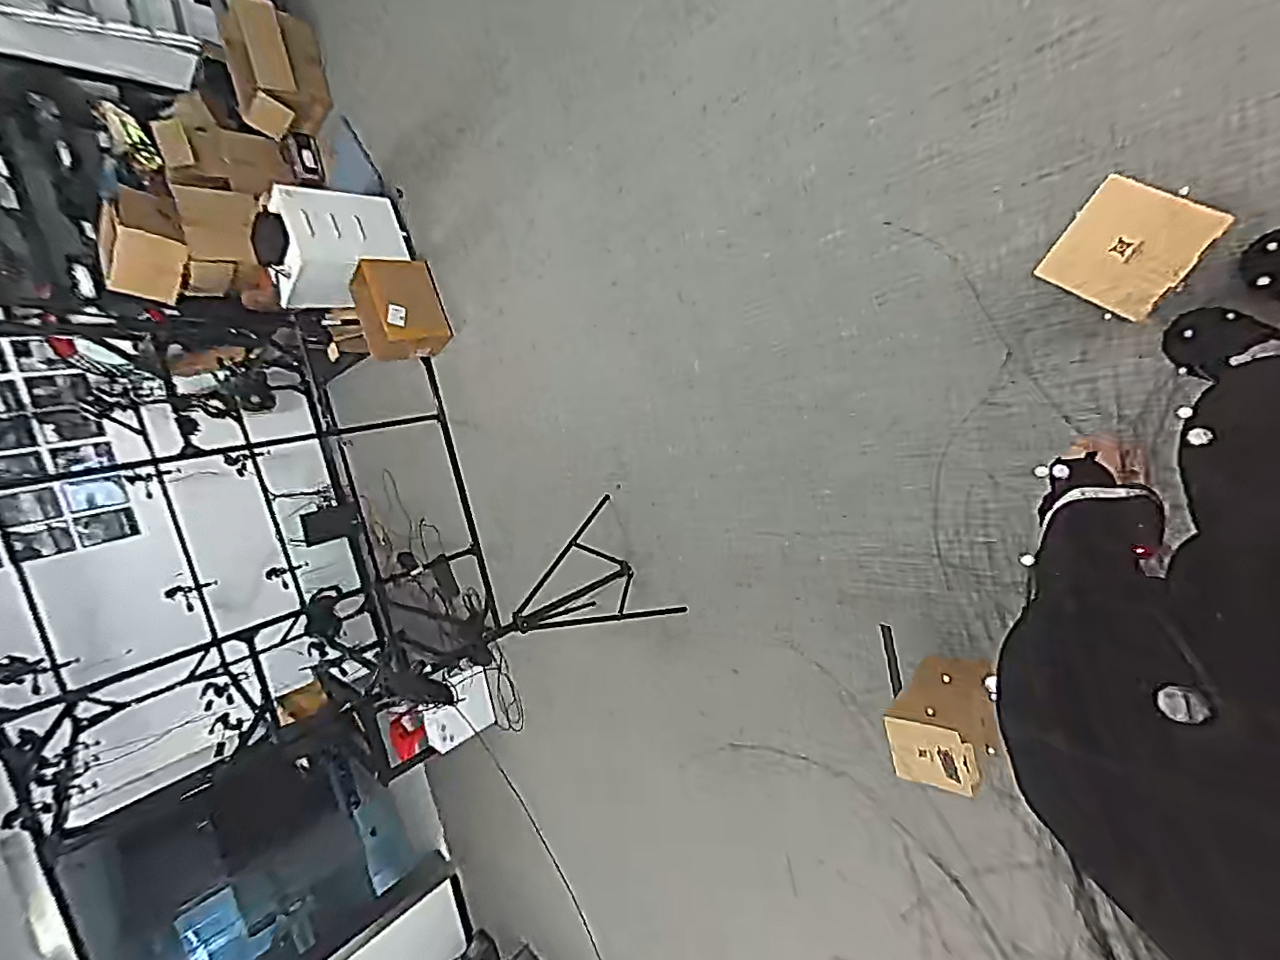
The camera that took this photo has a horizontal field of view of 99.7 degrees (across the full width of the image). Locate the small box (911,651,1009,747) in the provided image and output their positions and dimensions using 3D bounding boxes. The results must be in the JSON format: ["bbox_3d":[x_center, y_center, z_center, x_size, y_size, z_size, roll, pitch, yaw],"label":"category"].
[{"bbox_3d":[0.861,0.574,1.445,0.179,0.176,0.168,-12,95,48],"label":"small box"}]

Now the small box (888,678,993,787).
[{"bbox_3d":[0.746,0.610,1.333,0.179,0.176,0.168,-10,96,47],"label":"small box"}]

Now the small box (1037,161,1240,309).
[{"bbox_3d":[0.813,-0.397,0.896,0.179,0.176,0.168,43,130,25],"label":"small box"}]
